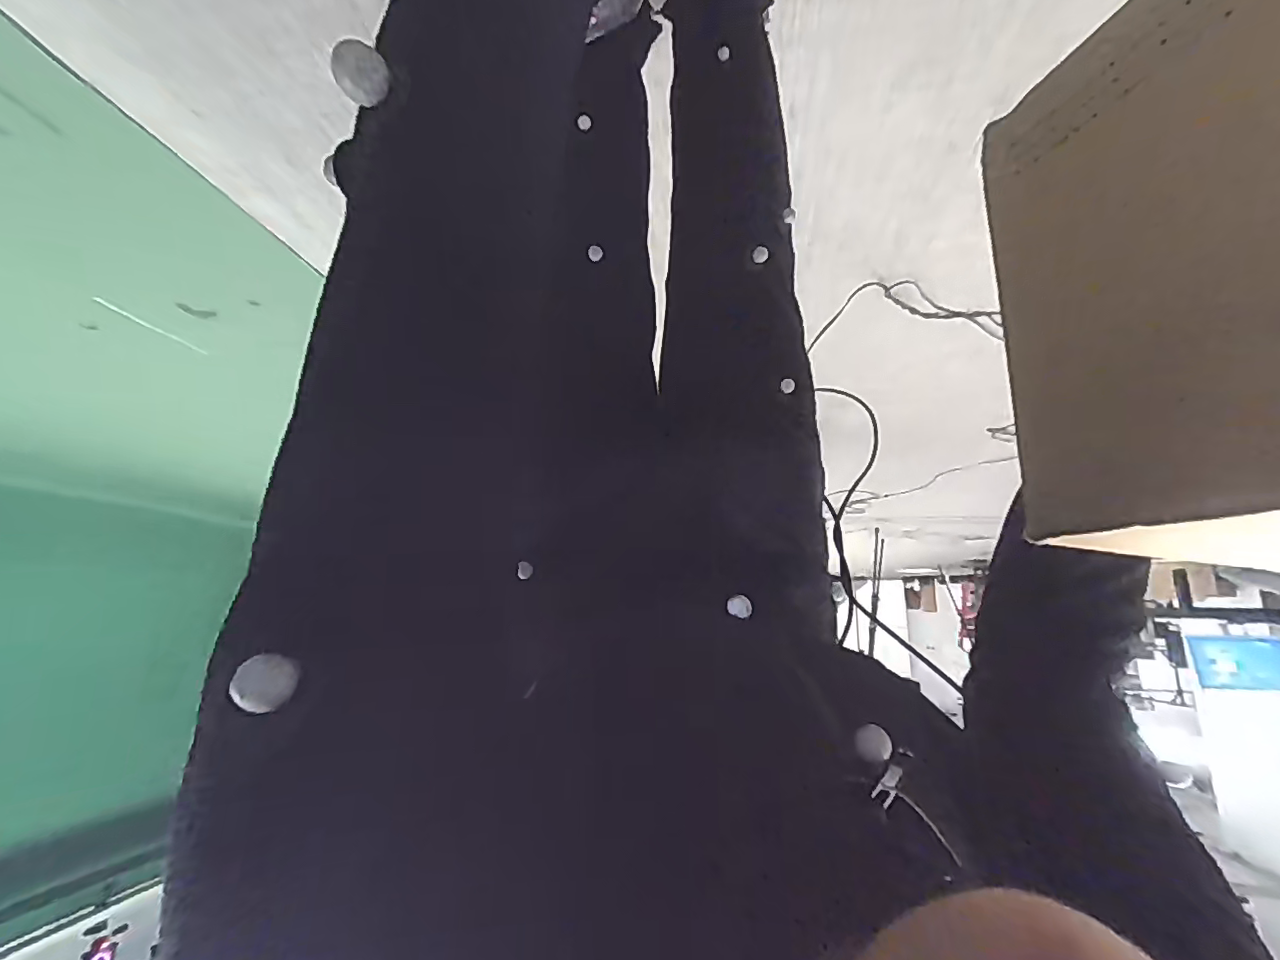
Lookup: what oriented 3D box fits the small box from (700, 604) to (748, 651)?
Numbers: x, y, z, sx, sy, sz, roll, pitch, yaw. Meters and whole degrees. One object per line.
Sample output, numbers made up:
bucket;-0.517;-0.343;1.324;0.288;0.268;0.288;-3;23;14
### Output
small box;0.337;0.584;2.152;0.168;0.176;0.179;-4;165;19
